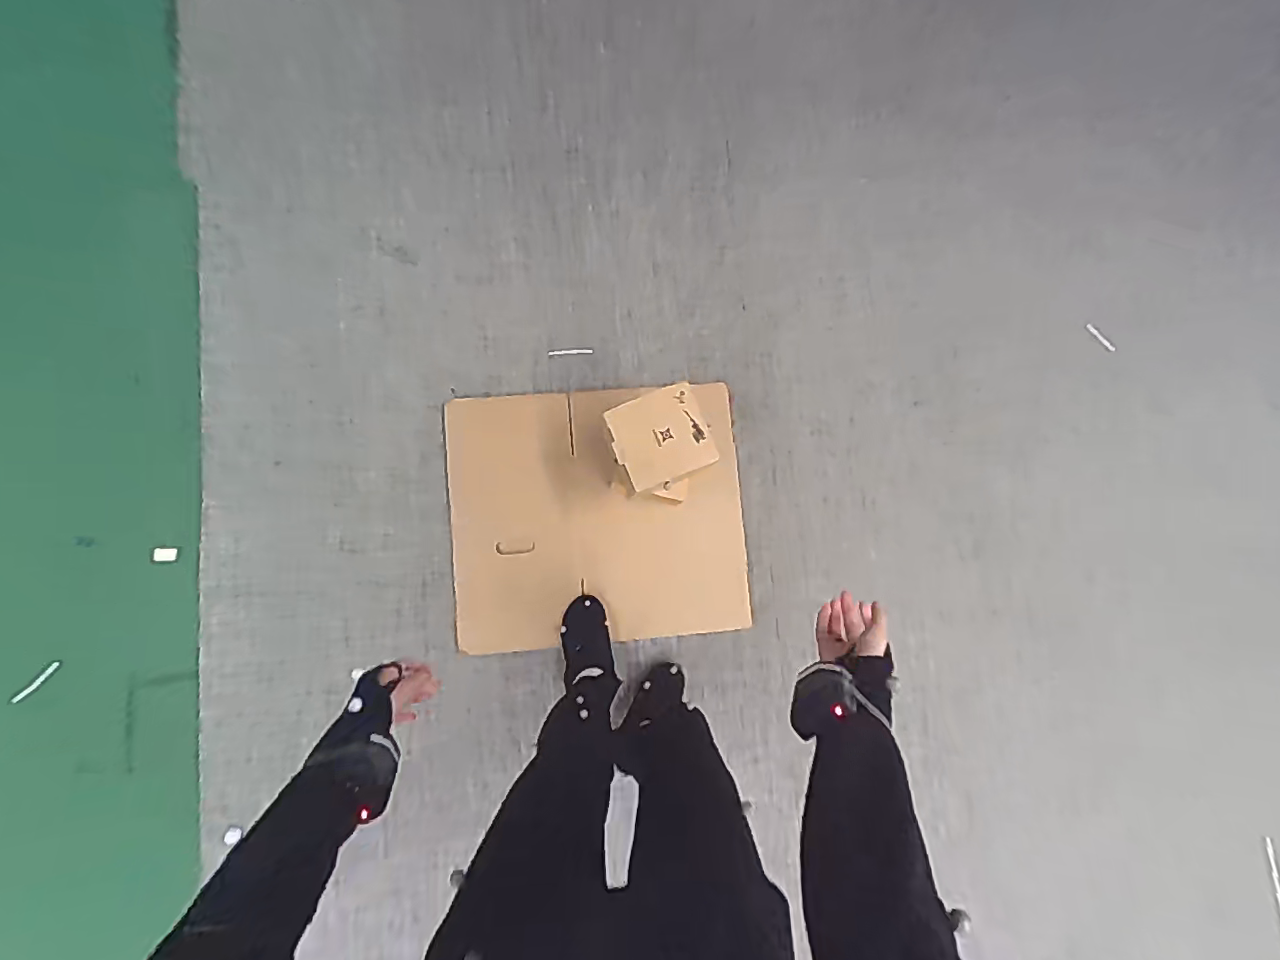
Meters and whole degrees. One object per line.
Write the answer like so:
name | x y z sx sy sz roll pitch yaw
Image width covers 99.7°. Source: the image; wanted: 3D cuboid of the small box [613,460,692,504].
small box | 0.035 -0.052 1.236 0.168 0.176 0.179 15 83 -2

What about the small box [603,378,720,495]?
small box | 0.036 -0.076 1.074 0.179 0.176 0.168 -22 85 -5
